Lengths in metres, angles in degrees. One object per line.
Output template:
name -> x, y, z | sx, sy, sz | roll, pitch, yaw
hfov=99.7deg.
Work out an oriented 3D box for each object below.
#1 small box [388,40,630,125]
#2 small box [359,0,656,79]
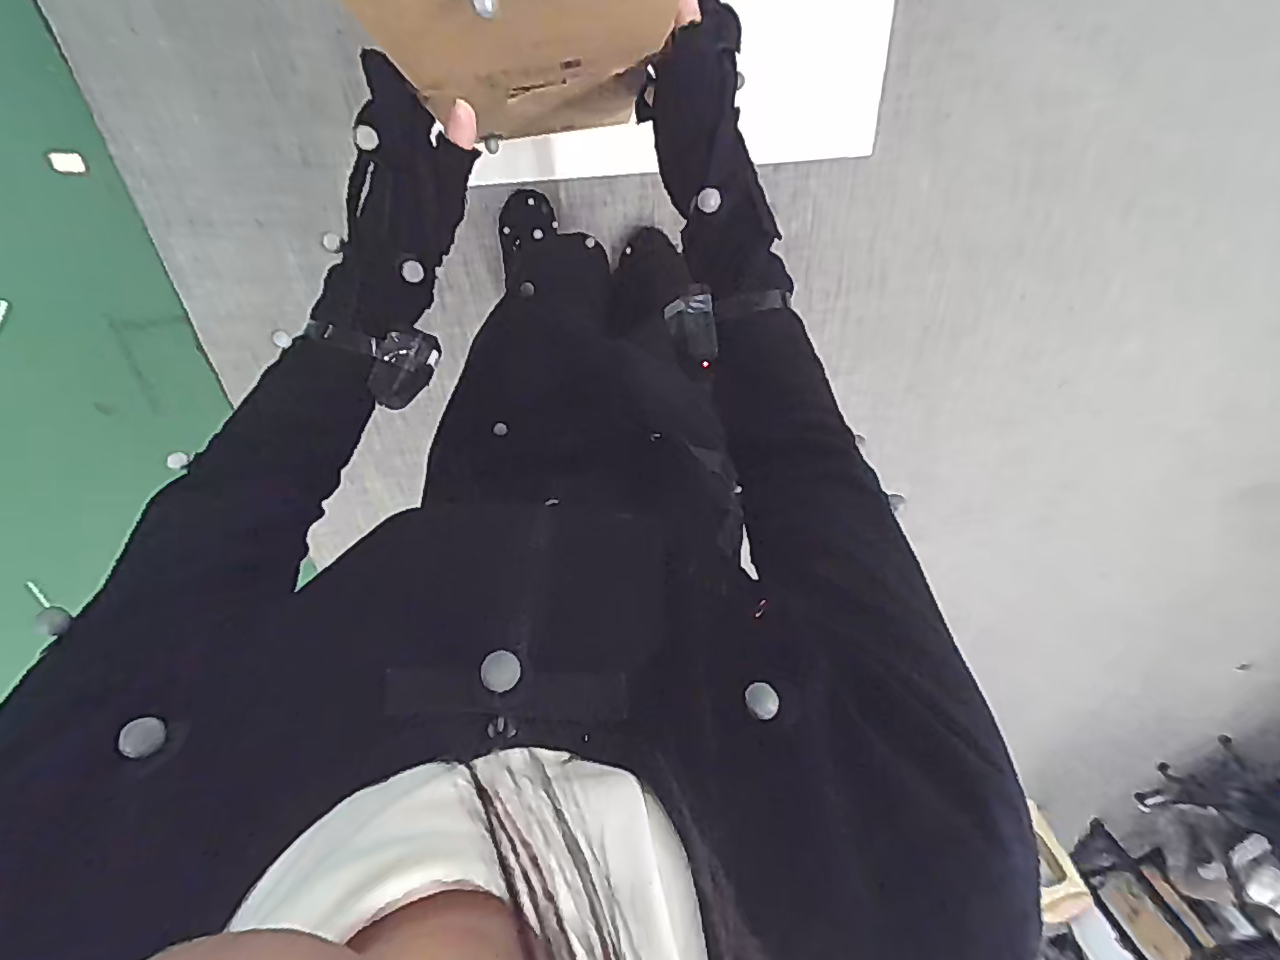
small box -> -0.102, -0.389, 0.408 | 0.168, 0.176, 0.179 | -10, 112, -3
small box -> -0.079, -0.330, 0.258 | 0.168, 0.176, 0.179 | -10, 112, -3
